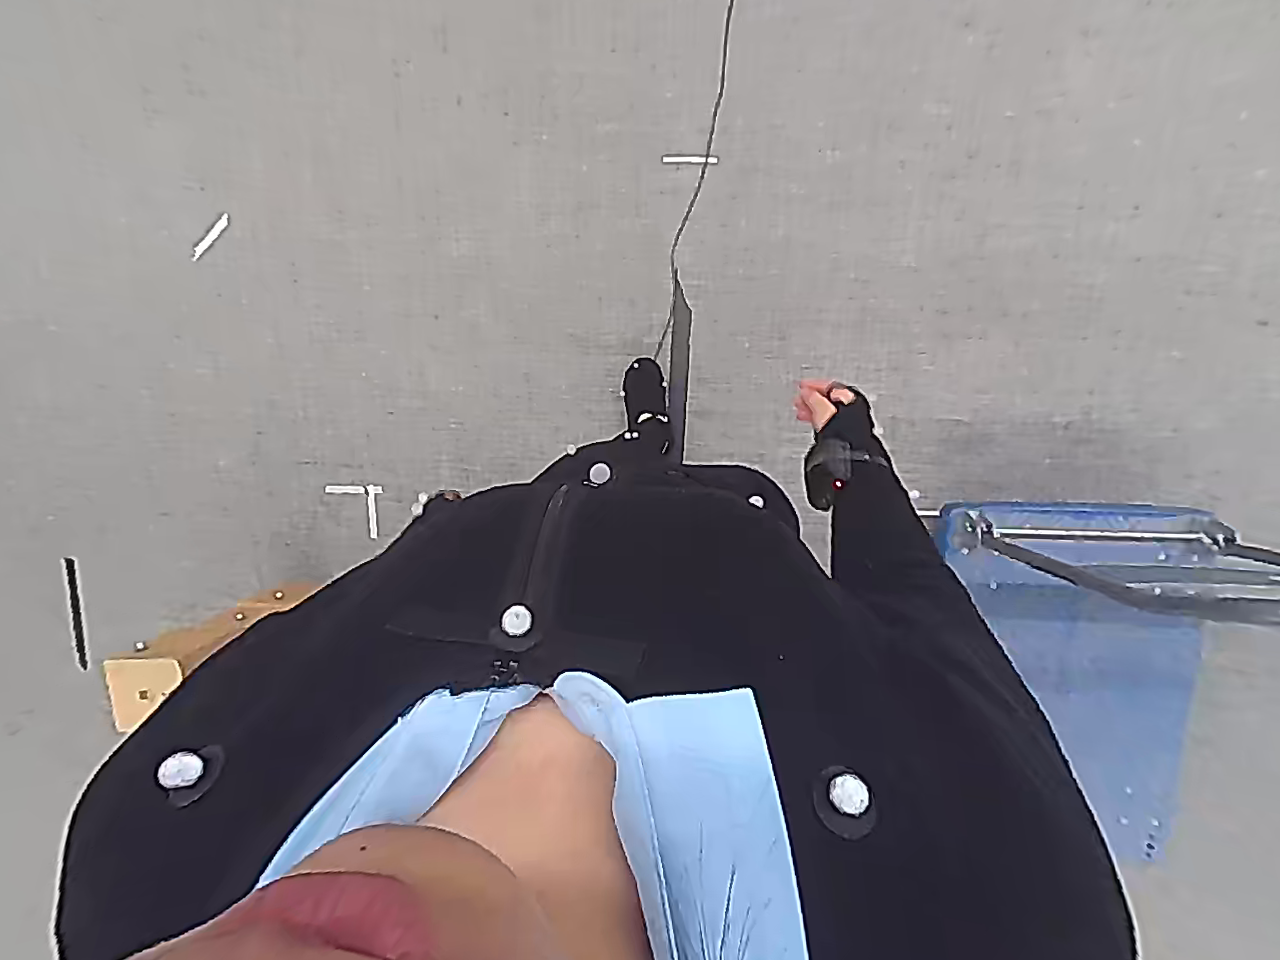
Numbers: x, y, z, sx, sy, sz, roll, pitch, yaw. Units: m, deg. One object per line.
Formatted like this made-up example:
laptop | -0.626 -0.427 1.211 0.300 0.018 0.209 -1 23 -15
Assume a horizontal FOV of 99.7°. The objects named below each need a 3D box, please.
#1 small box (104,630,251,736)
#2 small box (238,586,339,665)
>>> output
small box | -1.023 0.446 1.208 0.179 0.176 0.168 -3 98 4
small box | -0.991 0.407 1.534 0.179 0.176 0.168 1 98 4
